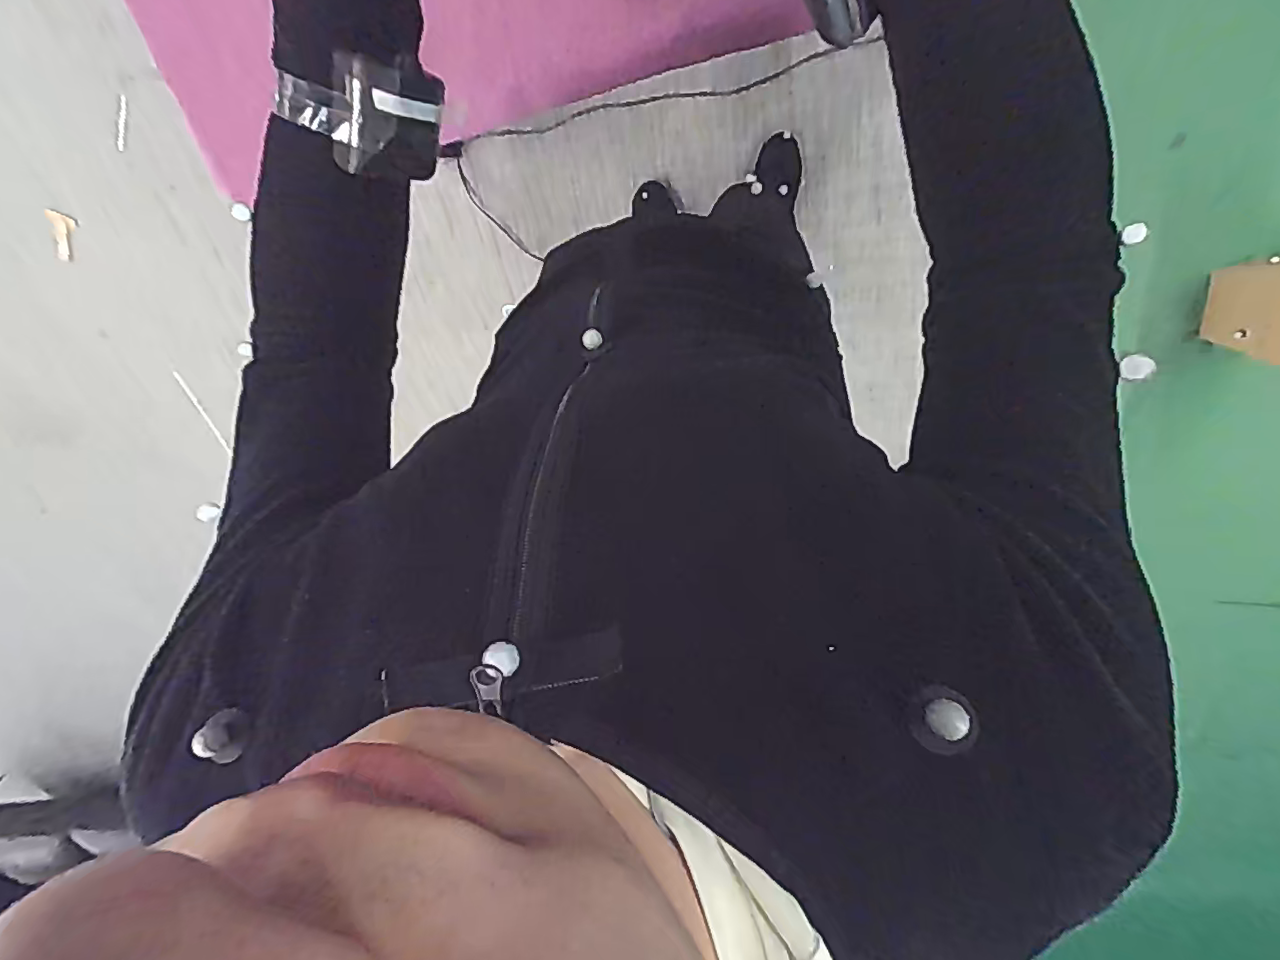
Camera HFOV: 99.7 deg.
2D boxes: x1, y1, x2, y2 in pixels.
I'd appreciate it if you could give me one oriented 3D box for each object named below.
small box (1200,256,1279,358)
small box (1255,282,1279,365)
[{"bbox_3d":[1.494,-0.413,1.278,0.168,0.176,0.179,-11,118,13],"label":"small box"},{"bbox_3d":[1.478,-0.331,1.139,0.168,0.176,0.179,-10,118,12],"label":"small box"}]
